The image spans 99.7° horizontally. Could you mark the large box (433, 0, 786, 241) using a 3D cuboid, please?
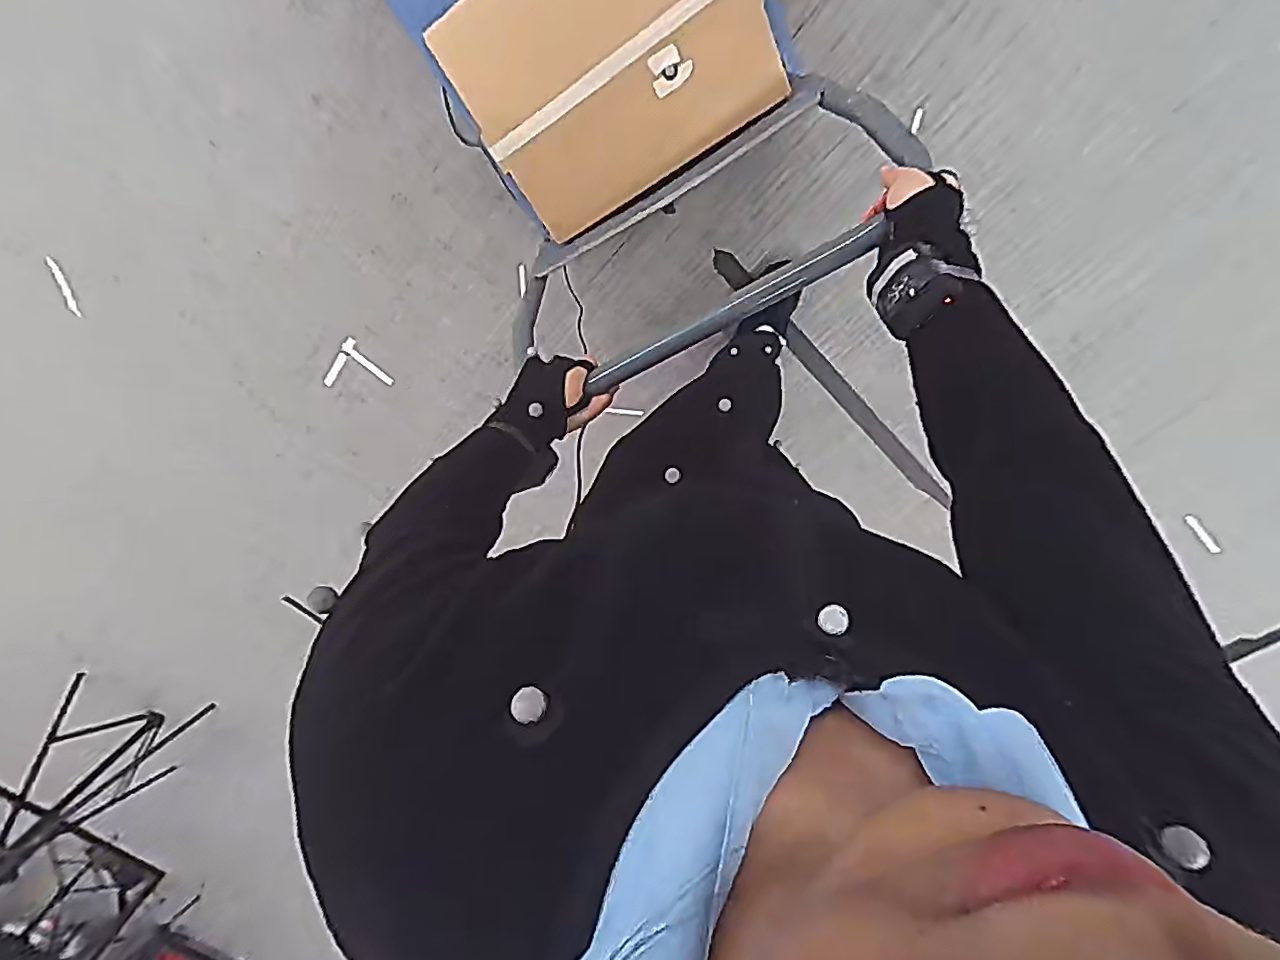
[{"bbox_3d":[-0.040,-0.663,0.864,0.408,0.320,0.320,-26,124,18],"label":"large box"}]
